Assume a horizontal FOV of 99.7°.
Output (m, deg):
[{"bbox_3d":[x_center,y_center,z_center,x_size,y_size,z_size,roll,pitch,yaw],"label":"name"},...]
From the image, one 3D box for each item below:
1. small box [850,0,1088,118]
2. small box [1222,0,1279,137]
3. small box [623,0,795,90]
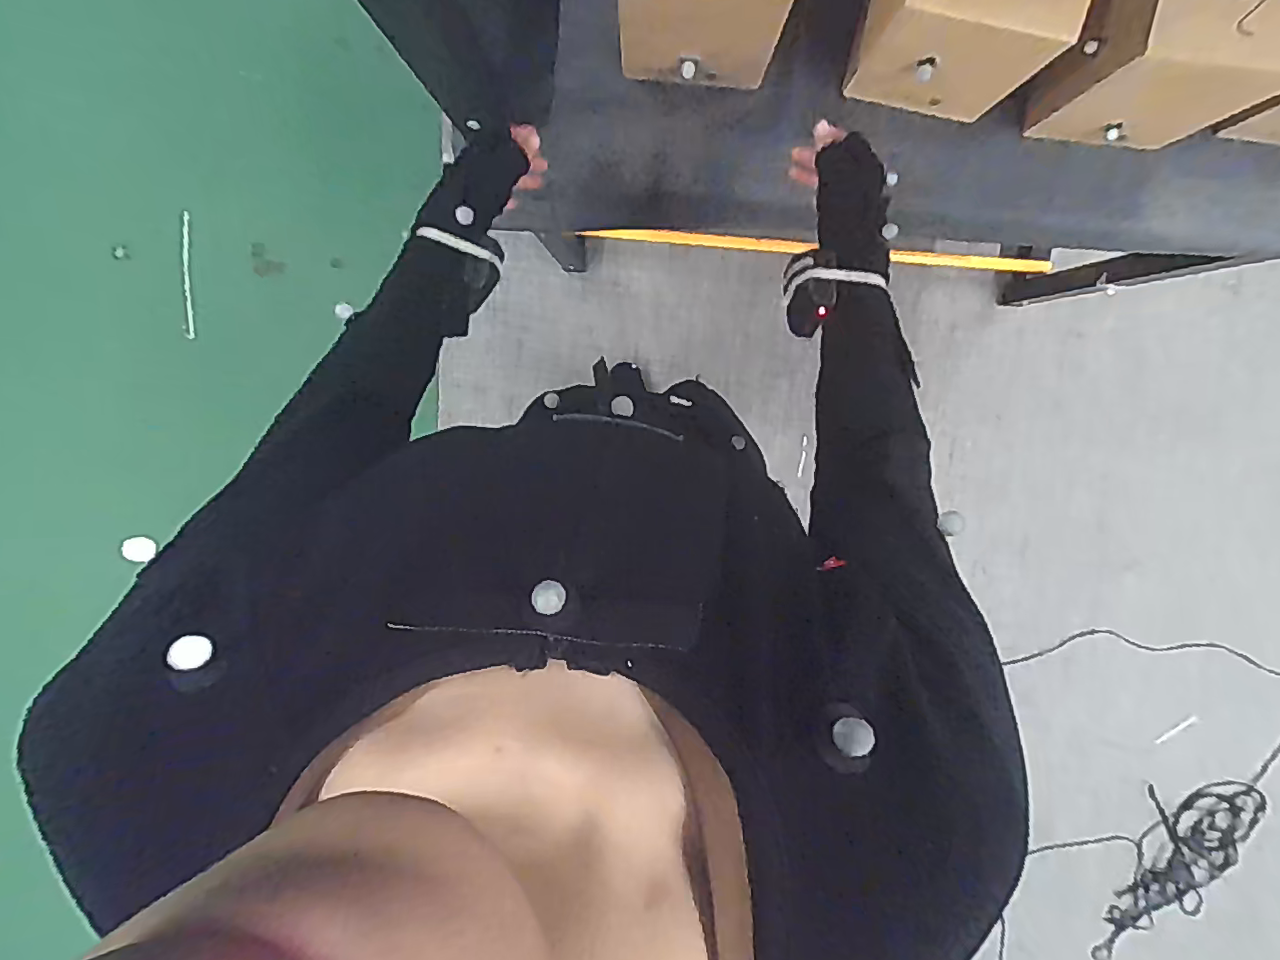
[{"bbox_3d":[0.338,-0.514,0.557,0.168,0.176,0.179,11,101,-1],"label":"small box"},{"bbox_3d":[0.777,-0.472,0.555,0.168,0.176,0.179,8,100,-1],"label":"small box"},{"bbox_3d":[0.070,-0.545,0.553,0.168,0.176,0.179,5,102,0],"label":"small box"}]
